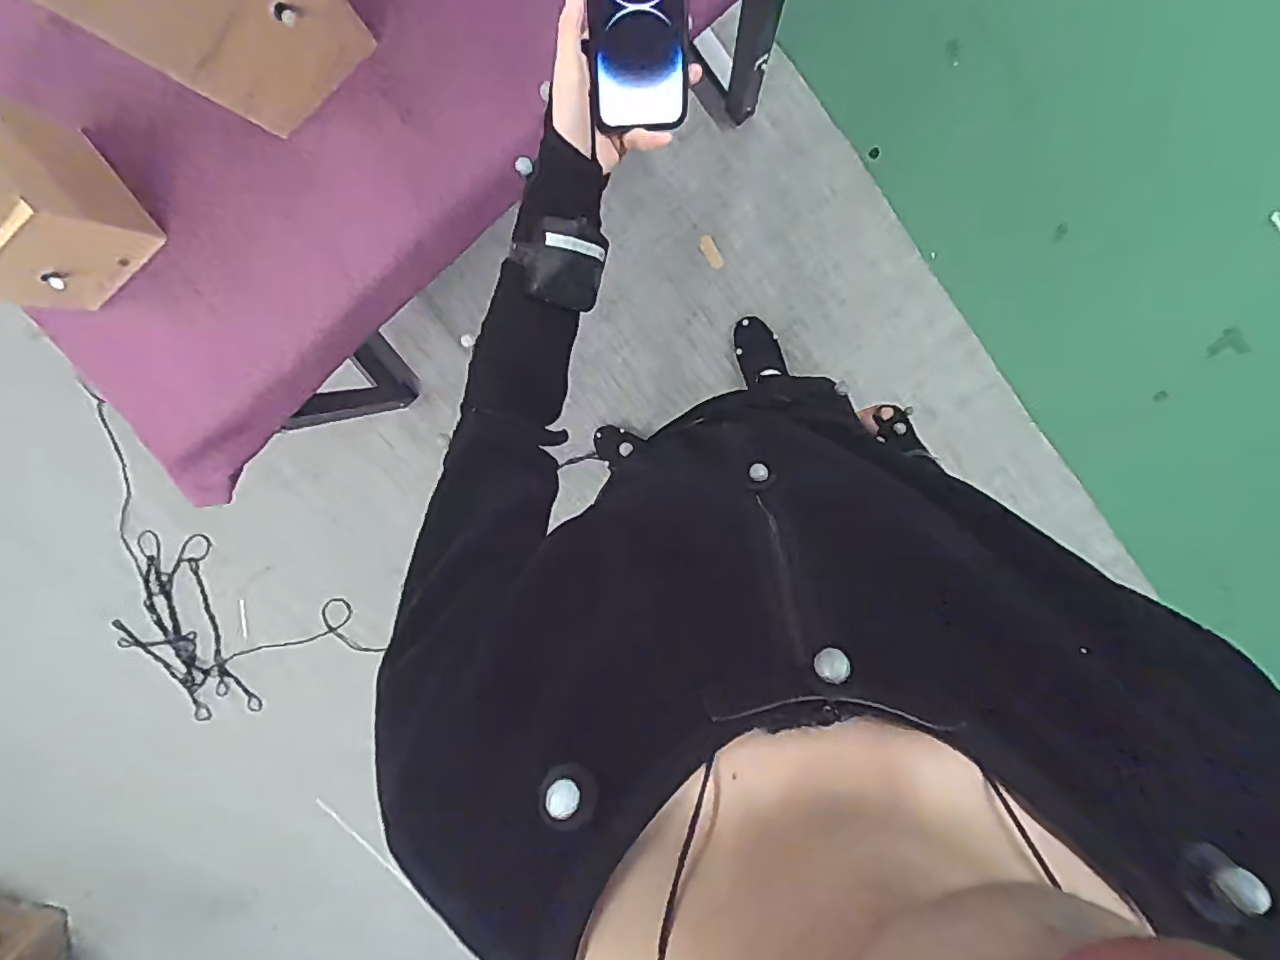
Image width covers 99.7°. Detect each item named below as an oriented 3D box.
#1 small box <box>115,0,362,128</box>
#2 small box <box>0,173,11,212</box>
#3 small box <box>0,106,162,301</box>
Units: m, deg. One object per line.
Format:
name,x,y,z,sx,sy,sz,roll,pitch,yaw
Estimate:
small box,-0.446,-0.543,0.597,0.179,0.176,0.168,-35,97,12
small box,-0.792,-0.312,0.515,0.168,0.176,0.179,-40,97,12
small box,-0.772,-0.342,0.676,0.168,0.176,0.179,-34,97,12
